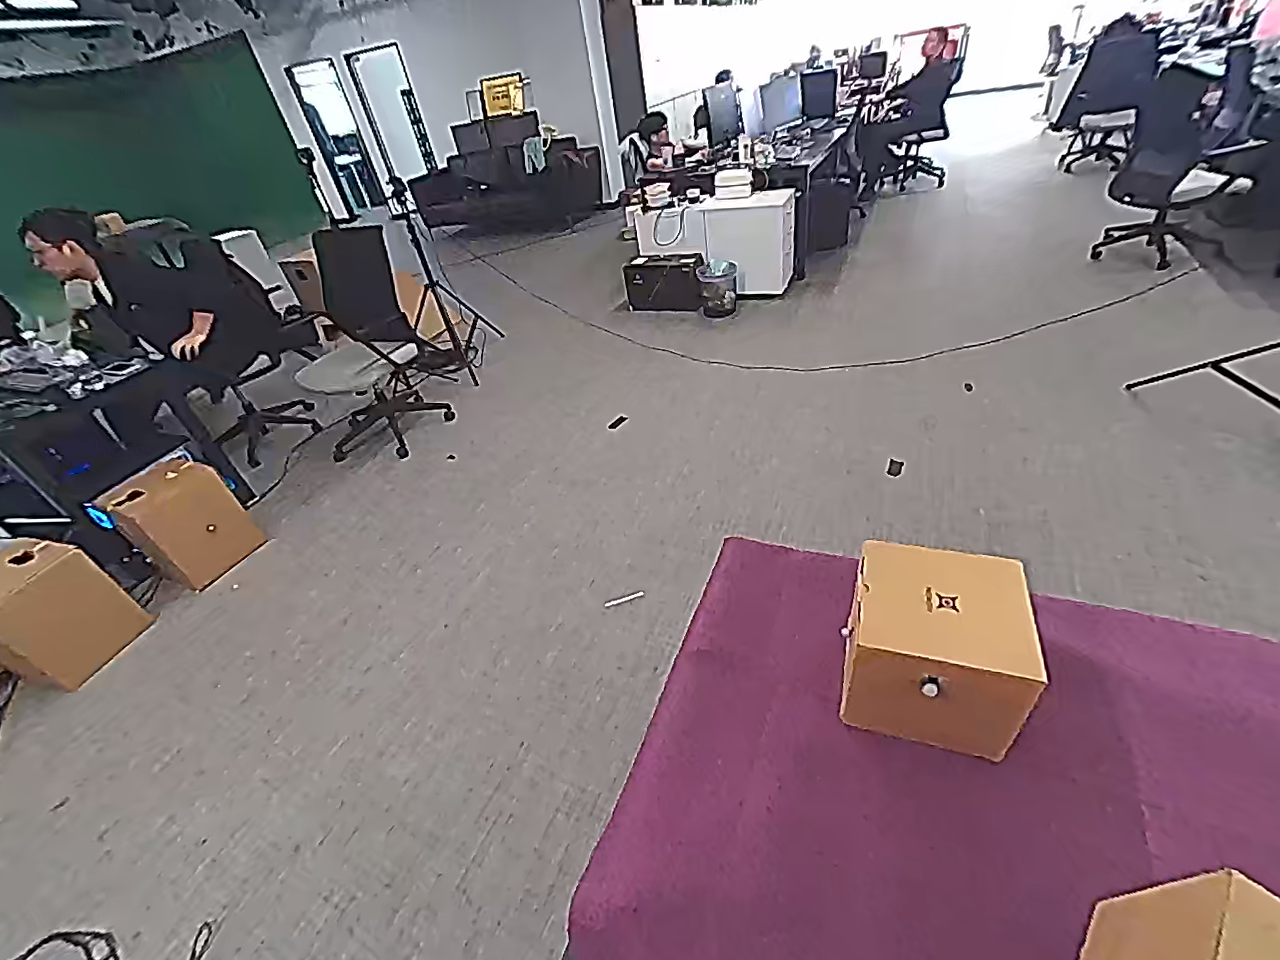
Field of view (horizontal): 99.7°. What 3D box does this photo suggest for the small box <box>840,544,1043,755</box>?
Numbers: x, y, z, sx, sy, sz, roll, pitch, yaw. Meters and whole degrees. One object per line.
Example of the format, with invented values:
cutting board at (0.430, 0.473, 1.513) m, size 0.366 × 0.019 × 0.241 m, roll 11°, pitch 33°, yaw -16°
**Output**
small box at (0.350, 0.205, 0.659) m, size 0.179 × 0.176 × 0.168 m, roll 6°, pitch 40°, yaw 21°
